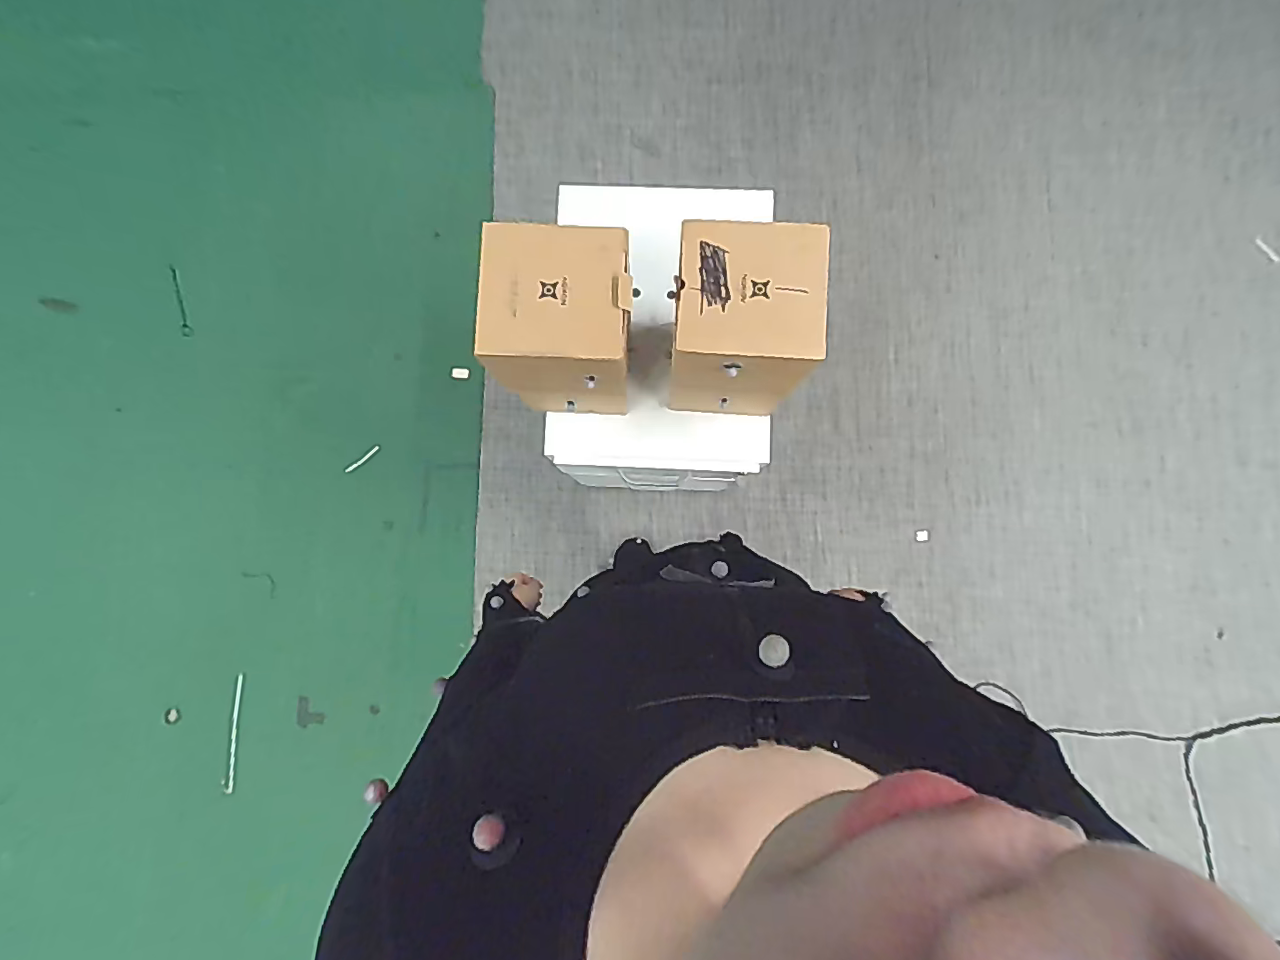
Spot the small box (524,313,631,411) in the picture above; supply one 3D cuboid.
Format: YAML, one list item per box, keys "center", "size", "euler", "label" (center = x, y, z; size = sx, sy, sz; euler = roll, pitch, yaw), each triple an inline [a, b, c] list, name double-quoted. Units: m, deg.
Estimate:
- center: [-0.101, -0.214, 0.875]
  size: [0.168, 0.176, 0.179]
  euler: [3, 84, -1]
  label: "small box"

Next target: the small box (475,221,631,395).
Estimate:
- center: [-0.101, -0.214, 0.711]
  size: [0.179, 0.176, 0.168]
  euler: [1, 83, 1]
  label: "small box"

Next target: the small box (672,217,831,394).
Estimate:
- center: [0.134, -0.216, 0.707]
  size: [0.179, 0.176, 0.168]
  euler: [4, 84, 2]
  label: "small box"
